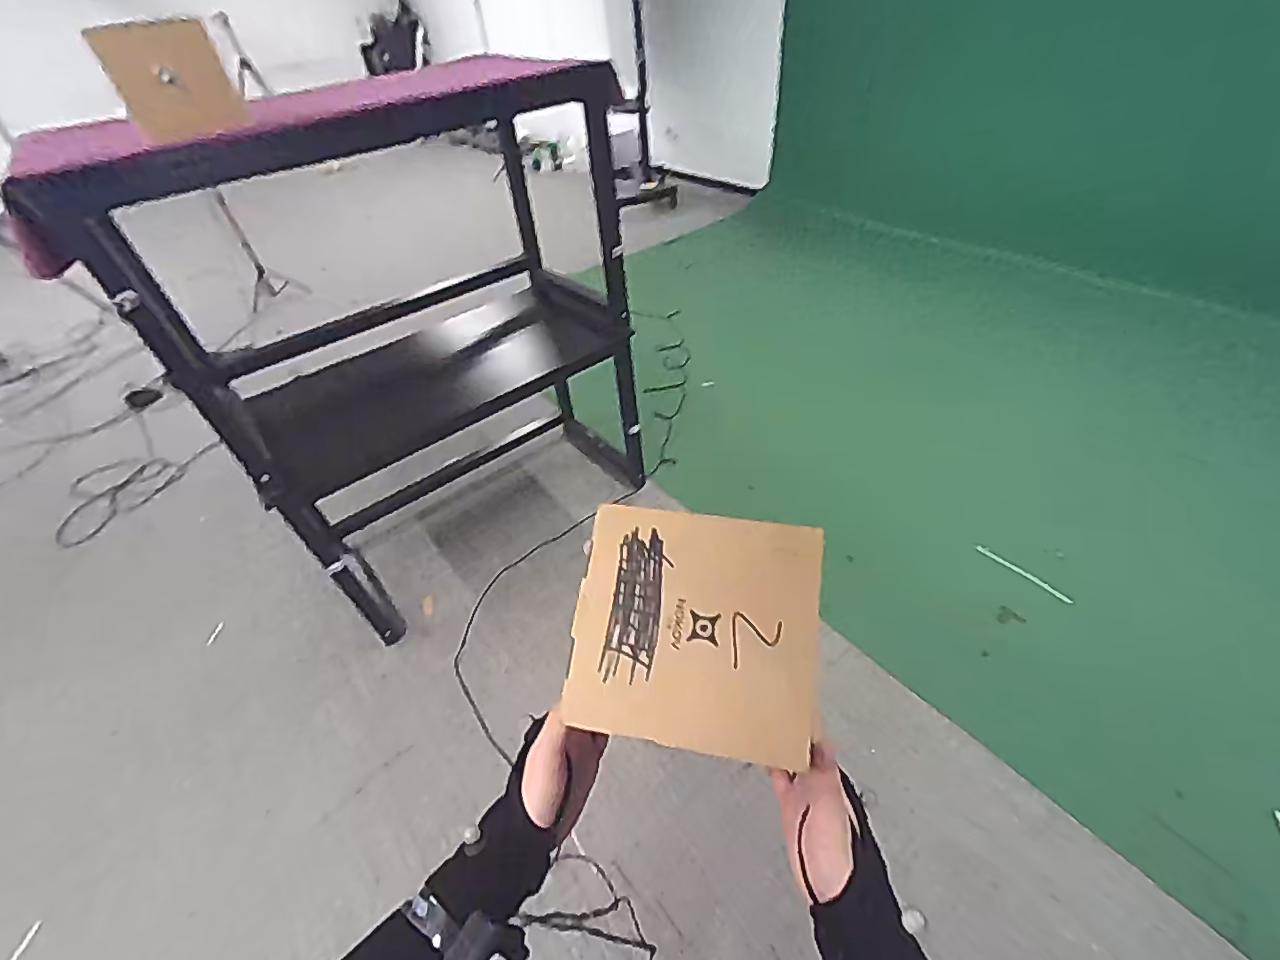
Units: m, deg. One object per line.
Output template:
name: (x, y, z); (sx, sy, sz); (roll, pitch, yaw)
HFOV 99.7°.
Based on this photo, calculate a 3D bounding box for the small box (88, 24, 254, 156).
small box: (-0.850, -0.720, 0.996); (0.179, 0.176, 0.168); (-31, 47, -23)
